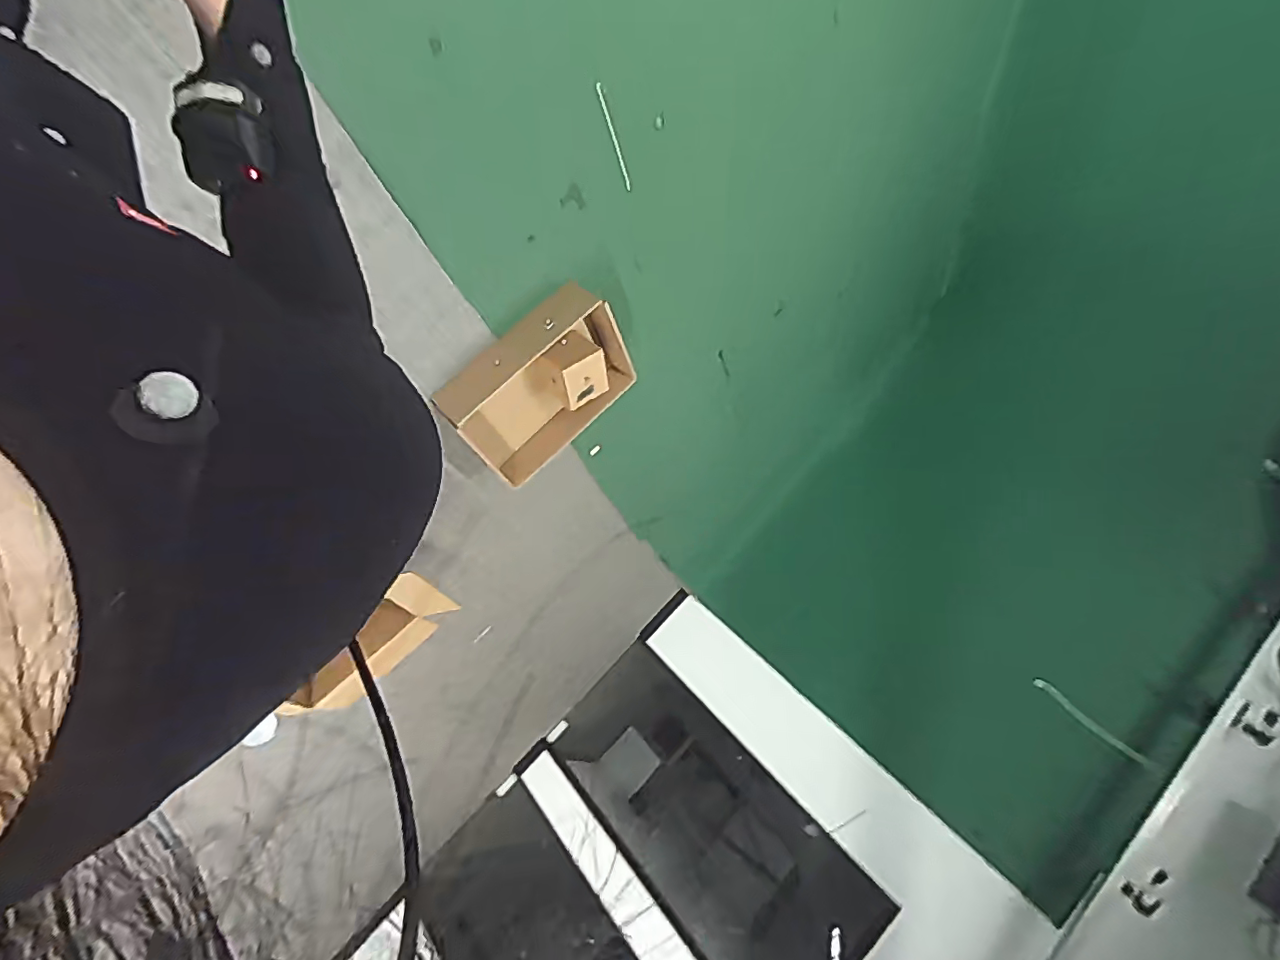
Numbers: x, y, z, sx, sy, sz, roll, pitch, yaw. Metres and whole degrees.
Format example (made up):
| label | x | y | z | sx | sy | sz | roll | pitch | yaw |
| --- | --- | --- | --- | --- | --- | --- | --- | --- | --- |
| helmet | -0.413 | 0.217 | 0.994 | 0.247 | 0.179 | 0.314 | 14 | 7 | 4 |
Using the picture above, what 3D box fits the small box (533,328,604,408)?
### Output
| label | x | y | z | sx | sy | sz | roll | pitch | yaw |
| --- | --- | --- | --- | --- | --- | --- | --- | --- | --- |
| small box | -0.243 | -0.384 | 1.842 | 0.168 | 0.176 | 0.179 | -35 | 145 | -23 |
